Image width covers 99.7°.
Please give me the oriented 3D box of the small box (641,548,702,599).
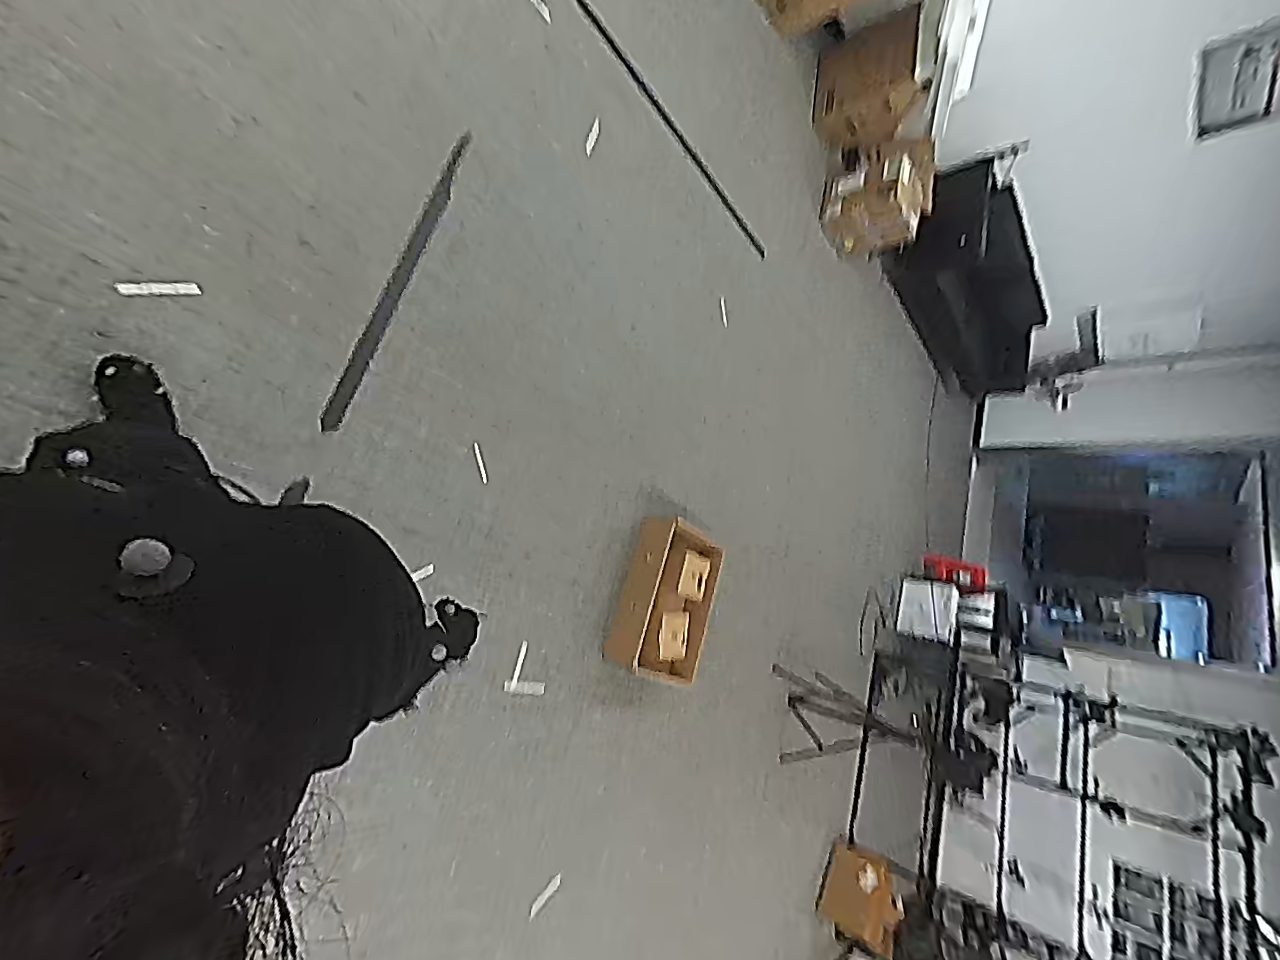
[{"bbox_3d":[0.133,0.394,2.292,0.179,0.176,0.168,30,70,-44],"label":"small box"}]
